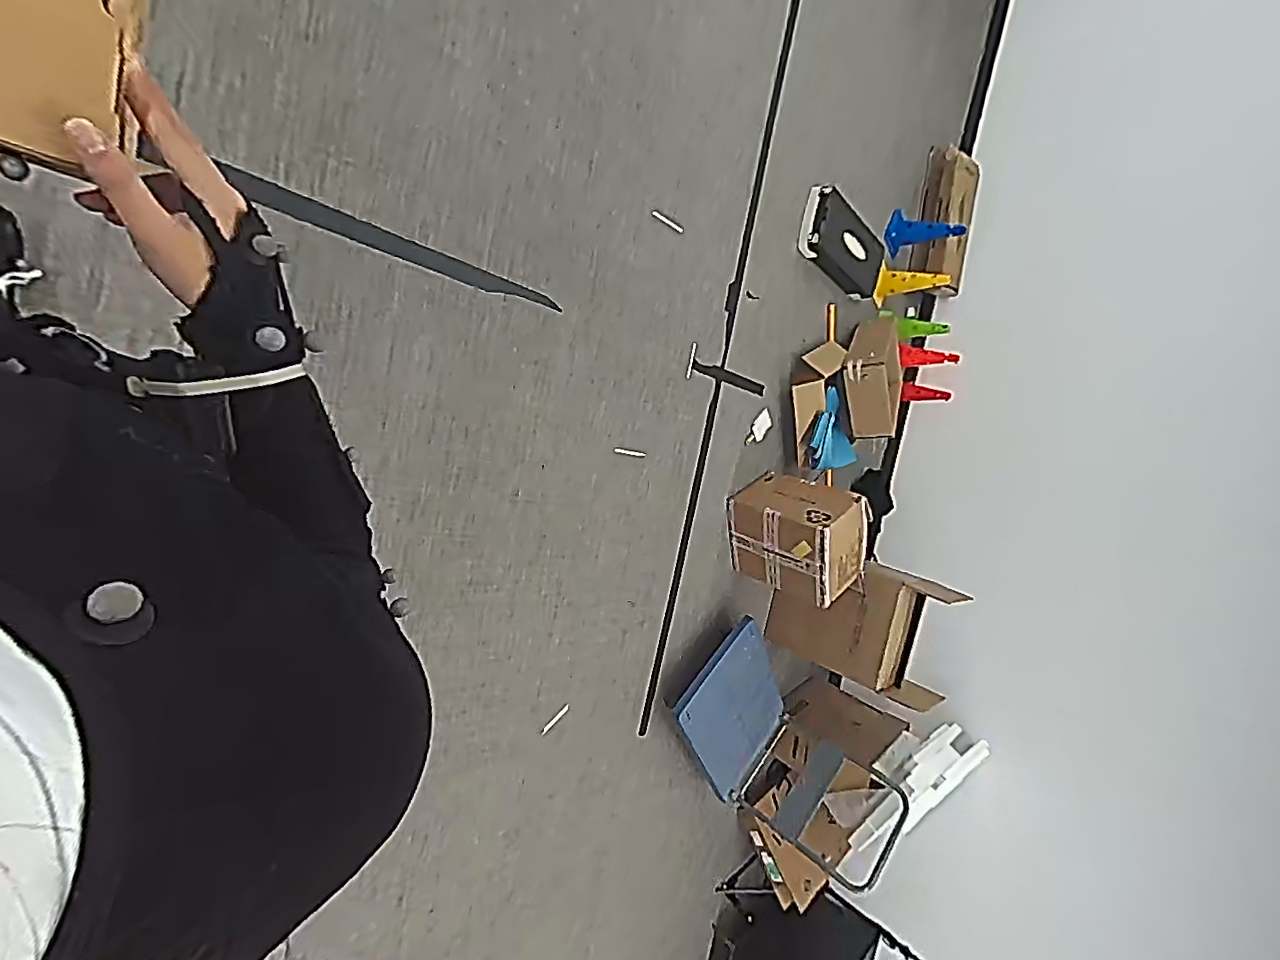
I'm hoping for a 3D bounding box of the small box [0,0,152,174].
[{"bbox_3d":[-0.369,-0.275,0.271,0.179,0.176,0.168,6,104,-45],"label":"small box"}]
